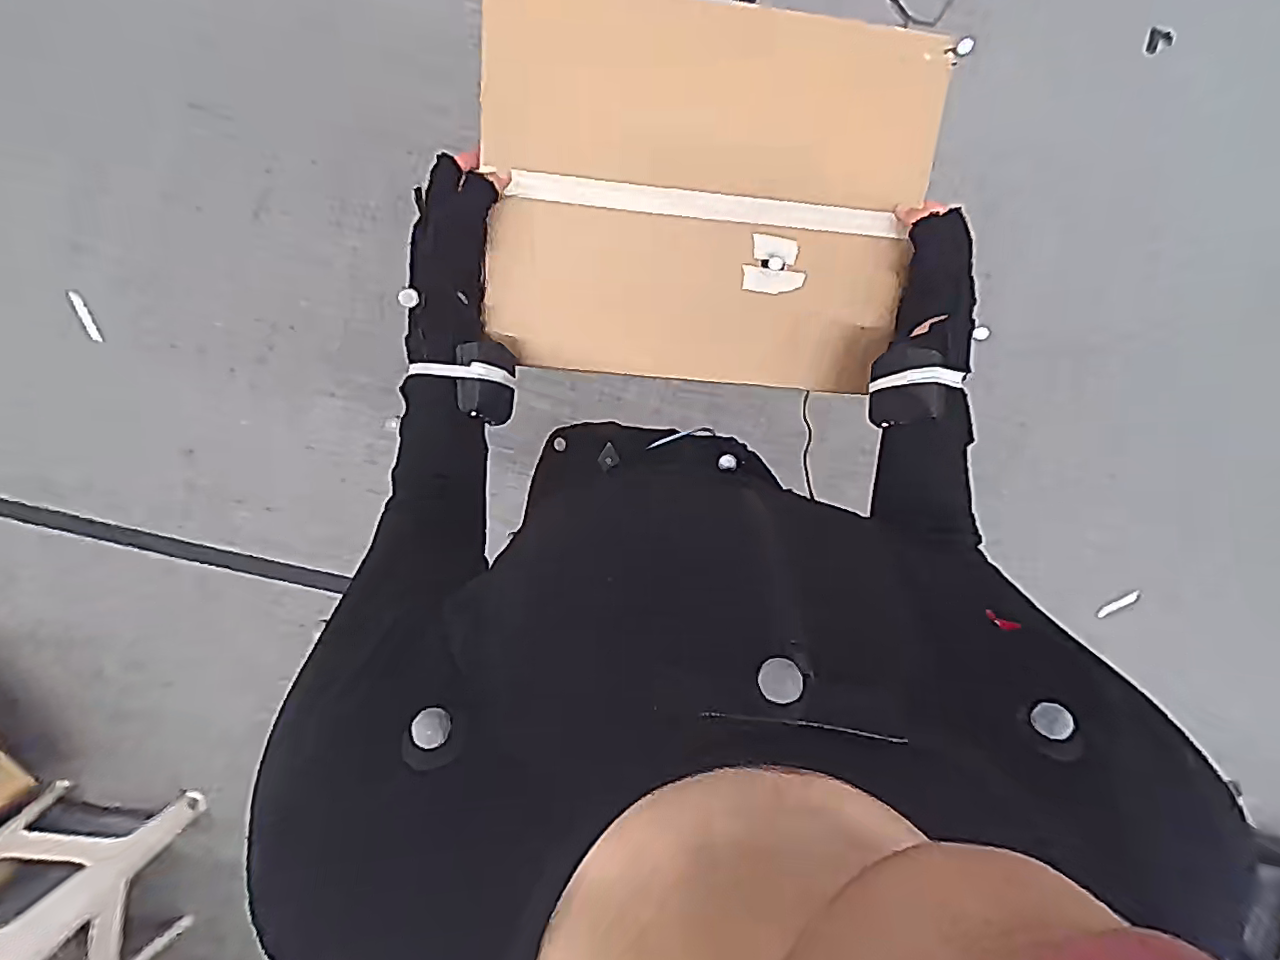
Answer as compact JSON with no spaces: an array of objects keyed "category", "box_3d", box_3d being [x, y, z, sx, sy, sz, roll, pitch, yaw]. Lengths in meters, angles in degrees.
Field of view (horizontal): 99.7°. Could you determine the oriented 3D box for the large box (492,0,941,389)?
[{"category":"large box","box_3d":[0.050,-0.292,0.648,0.408,0.320,0.320,4,106,-7]}]
